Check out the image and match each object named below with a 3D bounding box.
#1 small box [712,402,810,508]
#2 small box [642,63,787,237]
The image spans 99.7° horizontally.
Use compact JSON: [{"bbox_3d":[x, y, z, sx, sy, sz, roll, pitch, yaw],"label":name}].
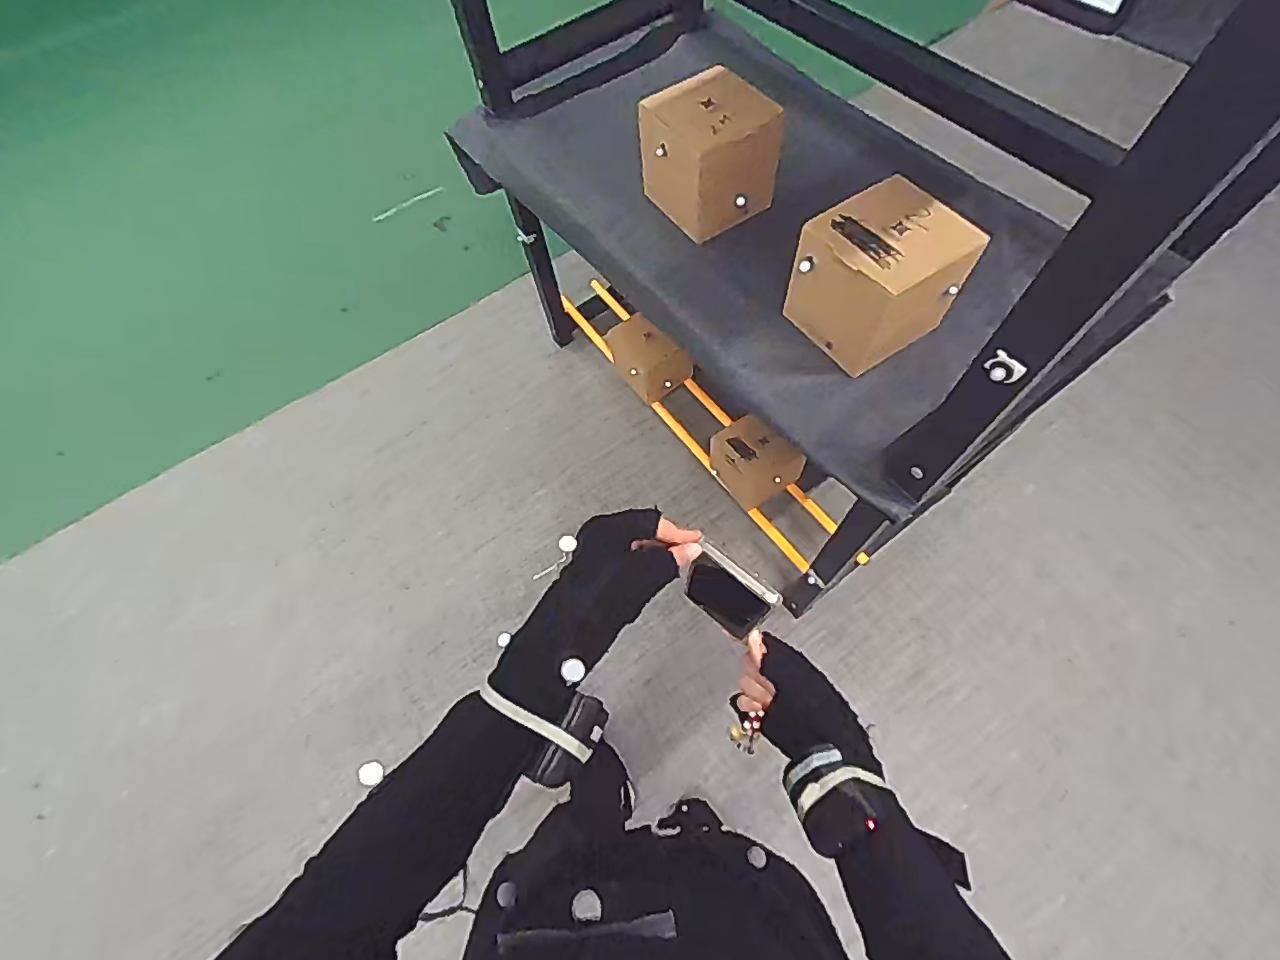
[{"bbox_3d":[0.296,-0.056,1.359,0.179,0.176,0.168,-32,66,-10],"label":"small box"},{"bbox_3d":[0.119,-0.557,0.923,0.168,0.176,0.179,-32,65,-10],"label":"small box"}]
